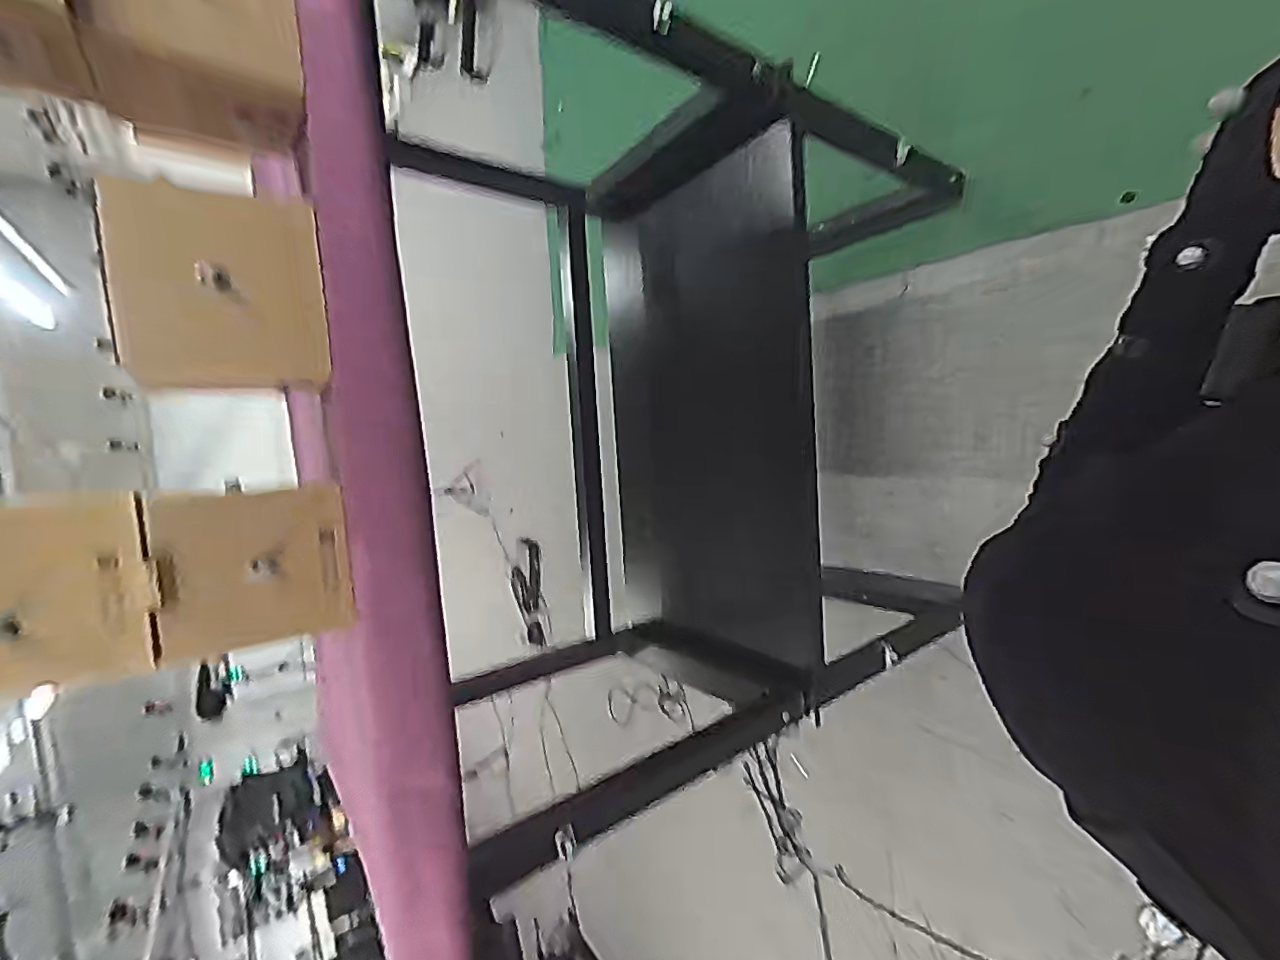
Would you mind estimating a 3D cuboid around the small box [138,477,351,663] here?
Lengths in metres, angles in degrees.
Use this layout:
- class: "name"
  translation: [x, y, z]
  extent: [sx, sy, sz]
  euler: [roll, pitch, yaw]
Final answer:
- class: "small box"
  translation: [-0.438, 0.087, 0.617]
  extent: [0.179, 0.176, 0.168]
  euler: [-5, 91, 54]

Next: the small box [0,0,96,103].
- class: "small box"
  translation: [-0.576, -0.456, 0.437]
  extent: [0.168, 0.176, 0.179]
  euler: [2, 98, 53]

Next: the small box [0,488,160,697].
- class: "small box"
  translation: [-0.567, 0.102, 0.518]
  extent: [0.179, 0.176, 0.168]
  euler: [-9, 89, 56]

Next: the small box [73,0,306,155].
- class: "small box"
  translation: [-0.458, -0.472, 0.552]
  extent: [0.168, 0.176, 0.179]
  euler: [3, 99, 53]
